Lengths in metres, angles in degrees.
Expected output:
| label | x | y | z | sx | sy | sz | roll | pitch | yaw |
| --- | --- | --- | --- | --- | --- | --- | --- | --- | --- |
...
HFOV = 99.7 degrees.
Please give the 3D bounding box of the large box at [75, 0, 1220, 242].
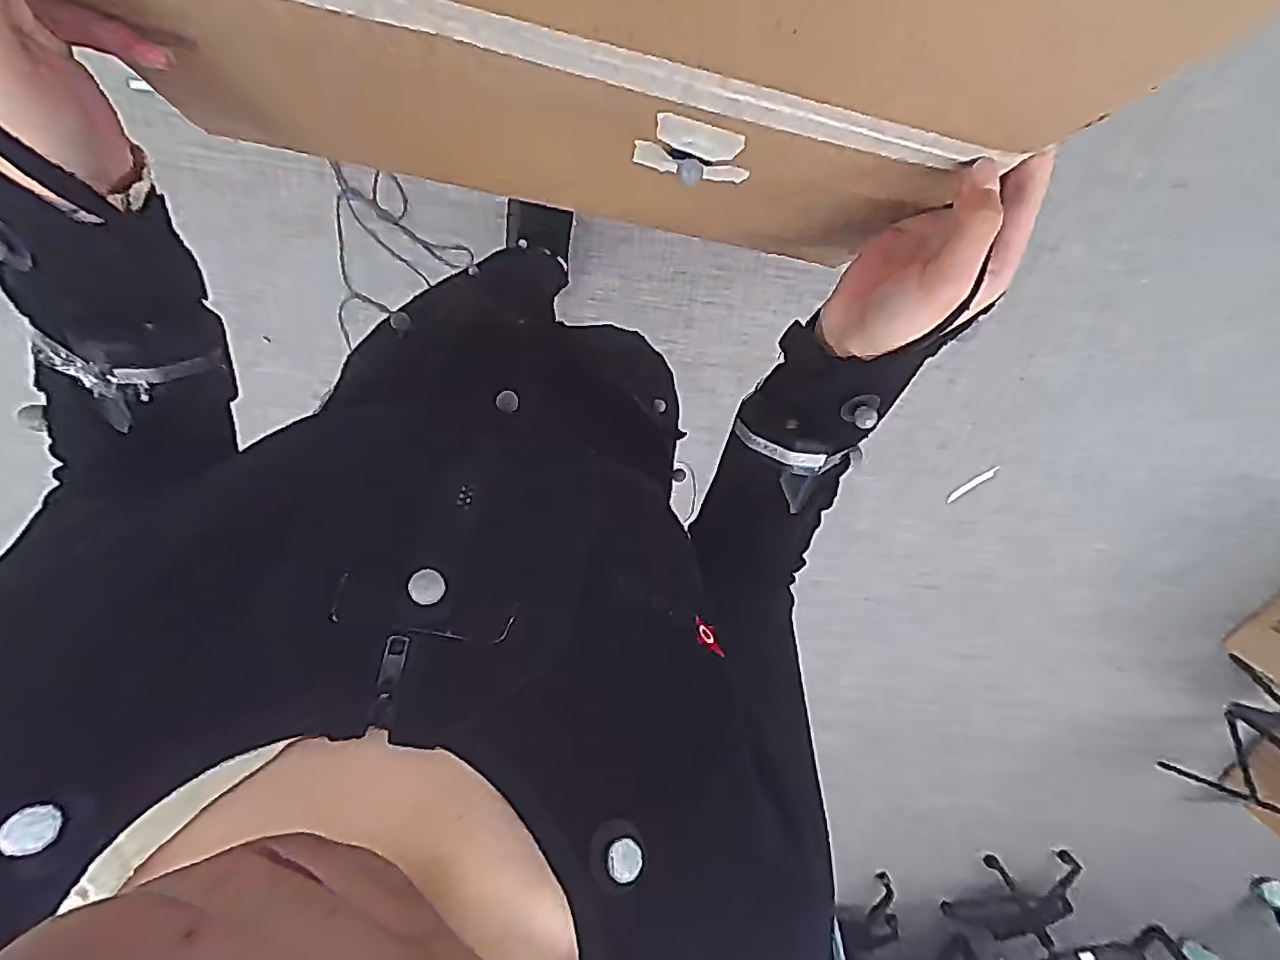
| label | x | y | z | sx | sy | sz | roll | pitch | yaw |
| --- | --- | --- | --- | --- | --- | --- | --- | --- | --- |
| large box | -0.015 | -0.324 | 0.193 | 0.408 | 0.320 | 0.320 | 6 | 96 | -10 |
